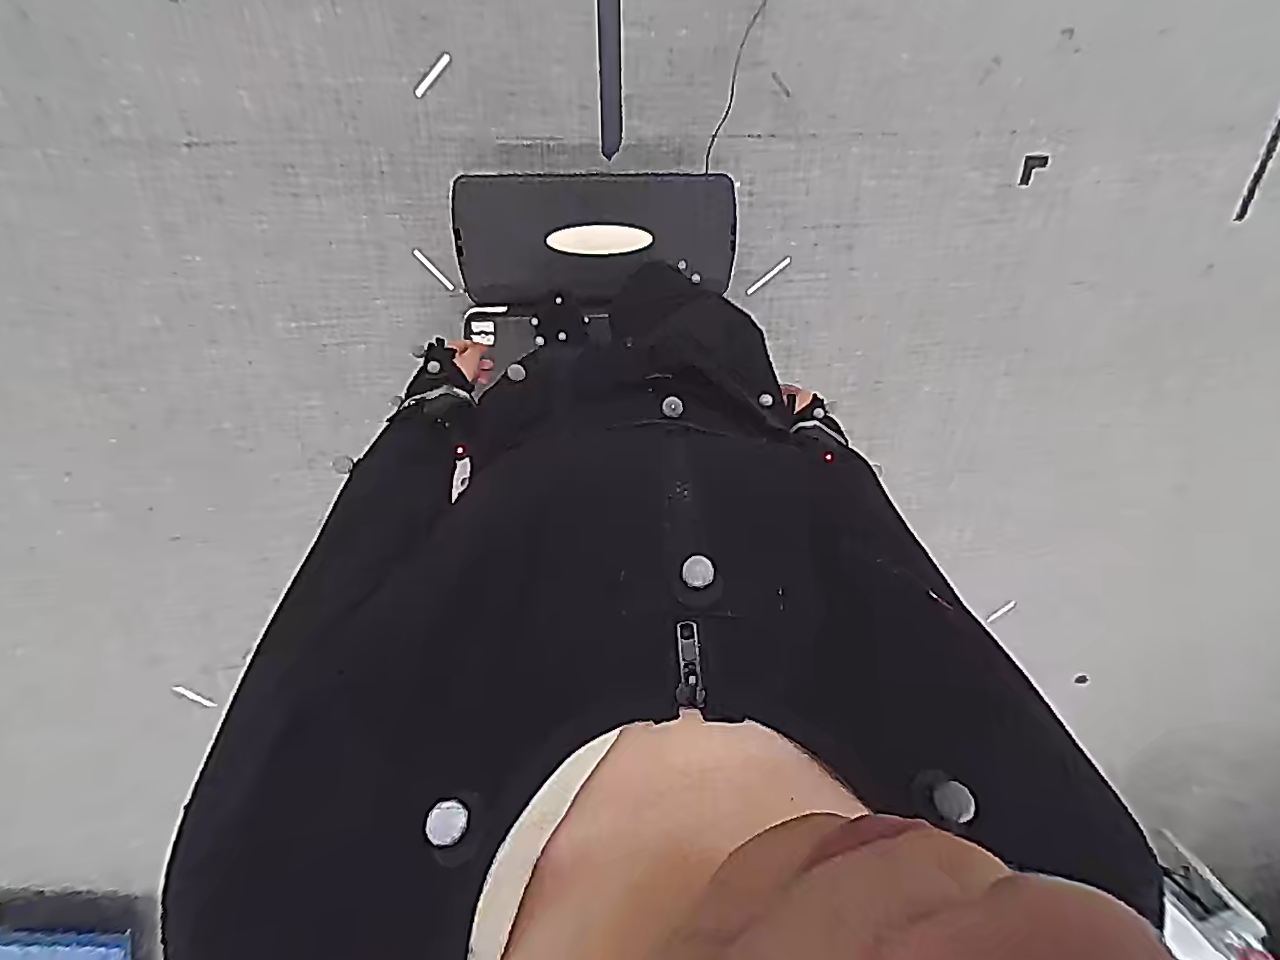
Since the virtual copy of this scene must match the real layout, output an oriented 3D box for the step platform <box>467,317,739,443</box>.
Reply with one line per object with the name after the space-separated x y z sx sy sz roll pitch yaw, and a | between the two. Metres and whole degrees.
-0.090 -0.255 1.399 0.684 0.204 0.286 0 113 -8 | step platform
